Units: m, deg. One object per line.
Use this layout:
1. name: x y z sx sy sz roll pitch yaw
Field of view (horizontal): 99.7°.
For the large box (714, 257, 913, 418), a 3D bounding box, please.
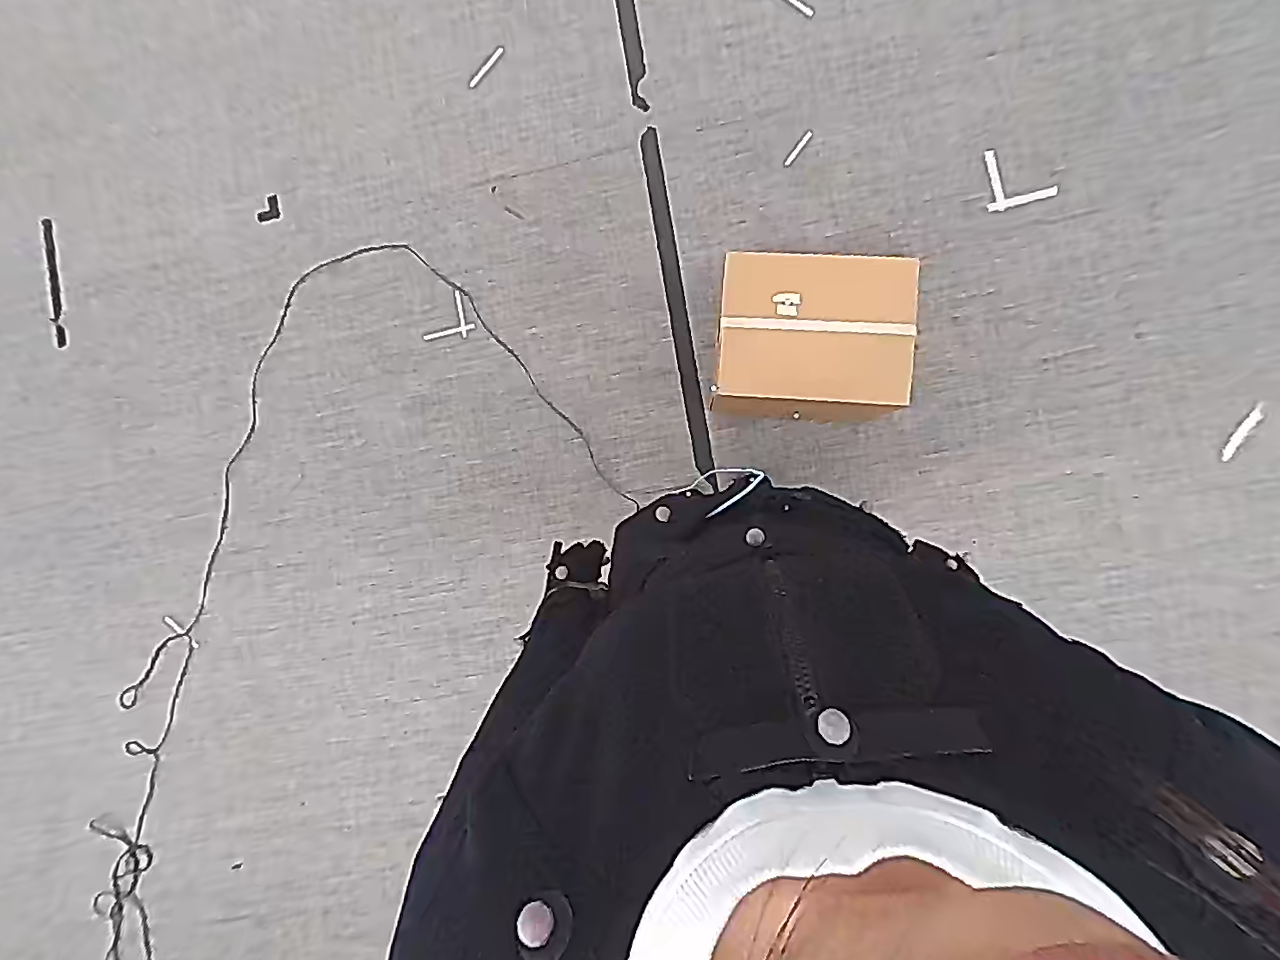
1. large box: 0.393 -0.325 1.312 0.408 0.320 0.320 4 89 7
